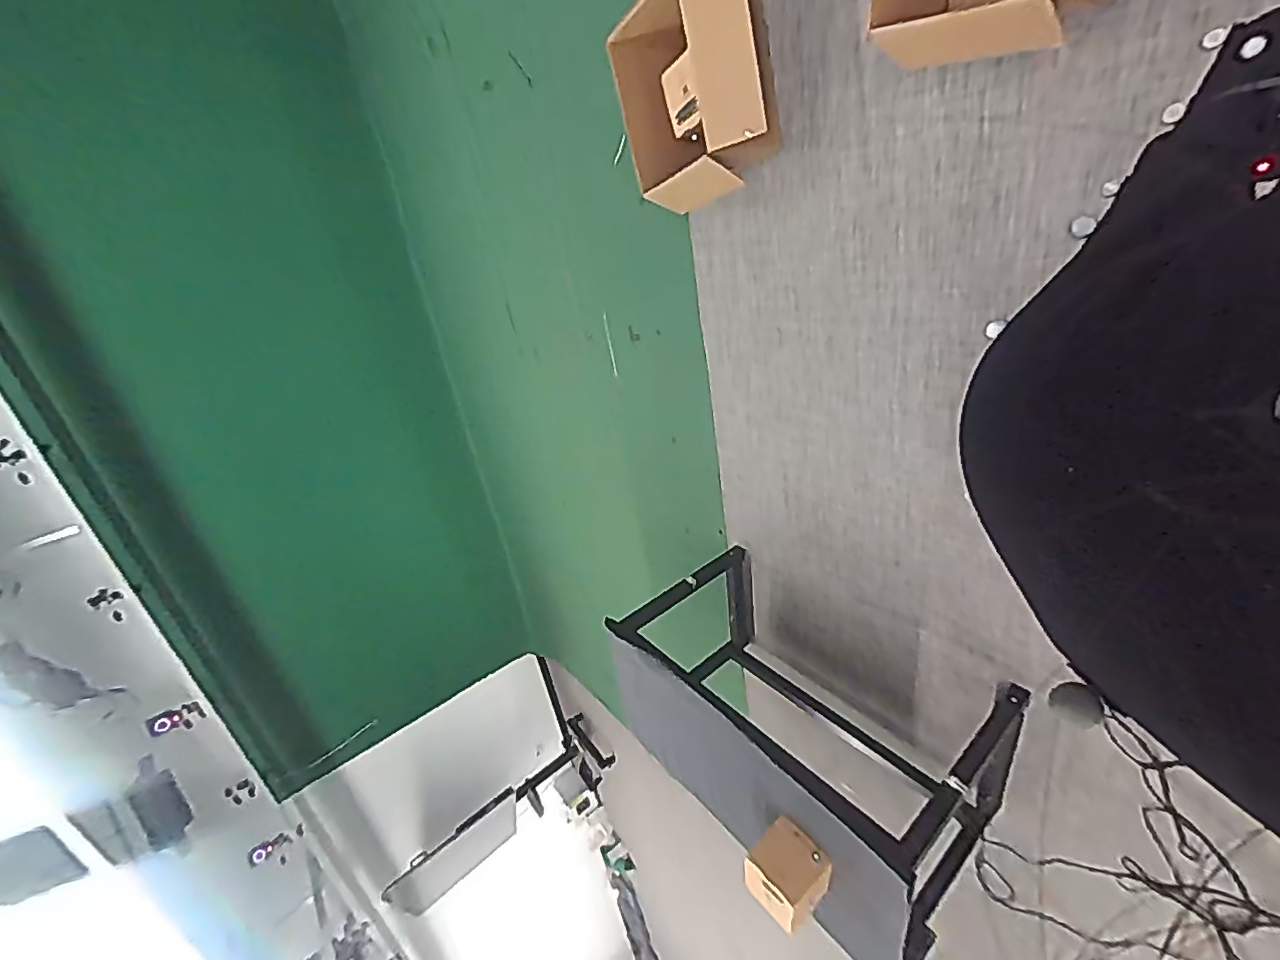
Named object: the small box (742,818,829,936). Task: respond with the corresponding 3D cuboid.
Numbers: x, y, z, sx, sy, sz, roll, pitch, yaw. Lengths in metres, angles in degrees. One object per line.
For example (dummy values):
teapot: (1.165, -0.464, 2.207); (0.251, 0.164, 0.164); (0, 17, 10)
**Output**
small box: (0.404, 1.095, 1.503); (0.168, 0.176, 0.179); (29, 135, 44)
